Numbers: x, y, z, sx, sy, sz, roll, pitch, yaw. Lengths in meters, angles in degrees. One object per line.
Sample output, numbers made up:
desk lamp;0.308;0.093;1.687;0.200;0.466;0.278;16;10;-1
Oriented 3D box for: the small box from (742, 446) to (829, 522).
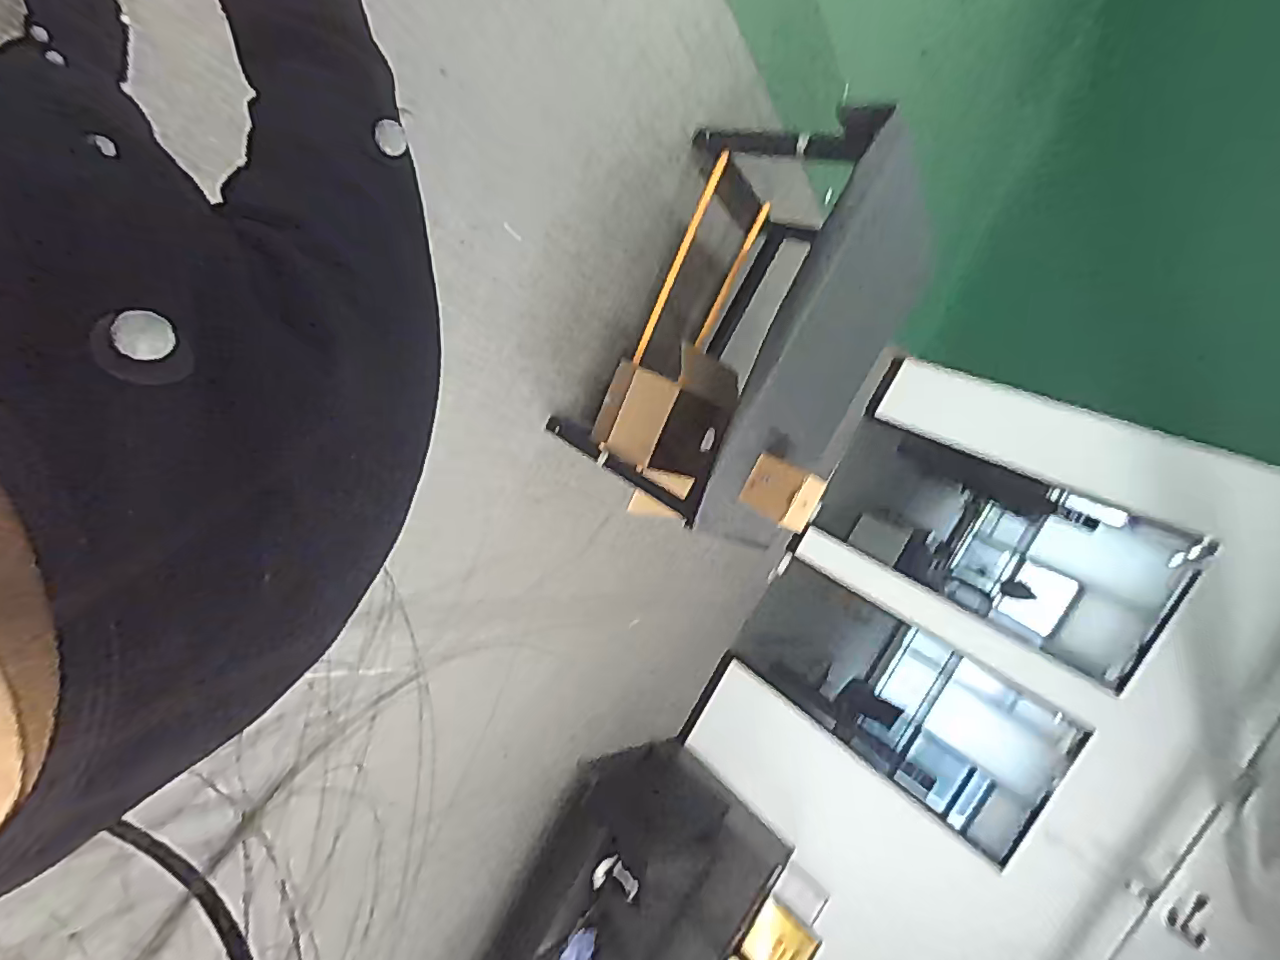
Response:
small box;0.447;0.010;1.673;0.179;0.176;0.168;17;103;-53
